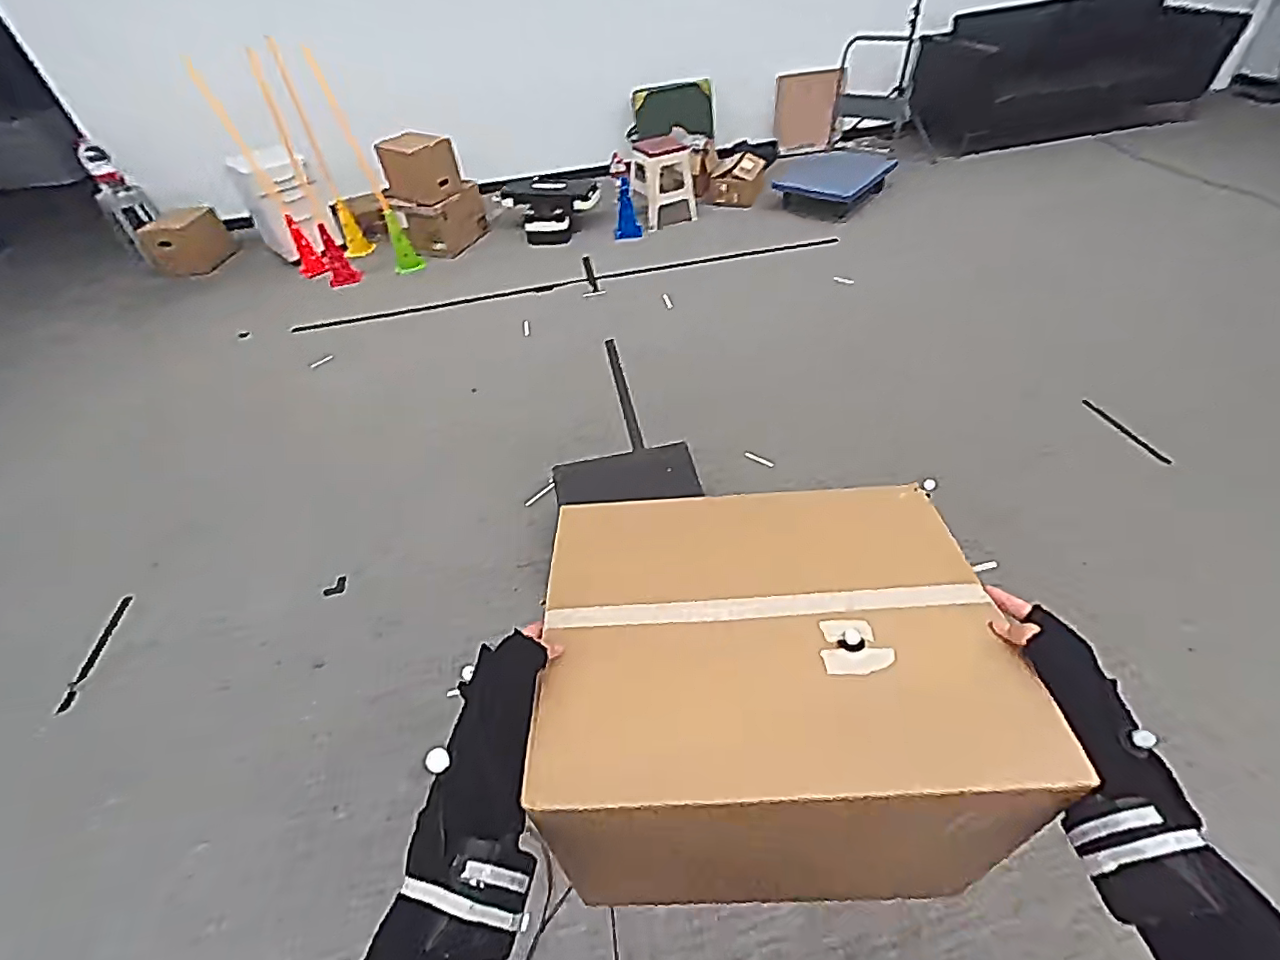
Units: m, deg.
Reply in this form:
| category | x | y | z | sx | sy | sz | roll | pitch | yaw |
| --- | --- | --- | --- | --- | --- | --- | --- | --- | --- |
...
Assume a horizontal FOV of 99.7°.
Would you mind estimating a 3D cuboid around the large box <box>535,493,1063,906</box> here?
| category | x | y | z | sx | sy | sz | roll | pitch | yaw |
| --- | --- | --- | --- | --- | --- | --- | --- | --- | --- |
| large box | 0.122 | 0.242 | 0.608 | 0.408 | 0.320 | 0.320 | -4 | 41 | 2 |
